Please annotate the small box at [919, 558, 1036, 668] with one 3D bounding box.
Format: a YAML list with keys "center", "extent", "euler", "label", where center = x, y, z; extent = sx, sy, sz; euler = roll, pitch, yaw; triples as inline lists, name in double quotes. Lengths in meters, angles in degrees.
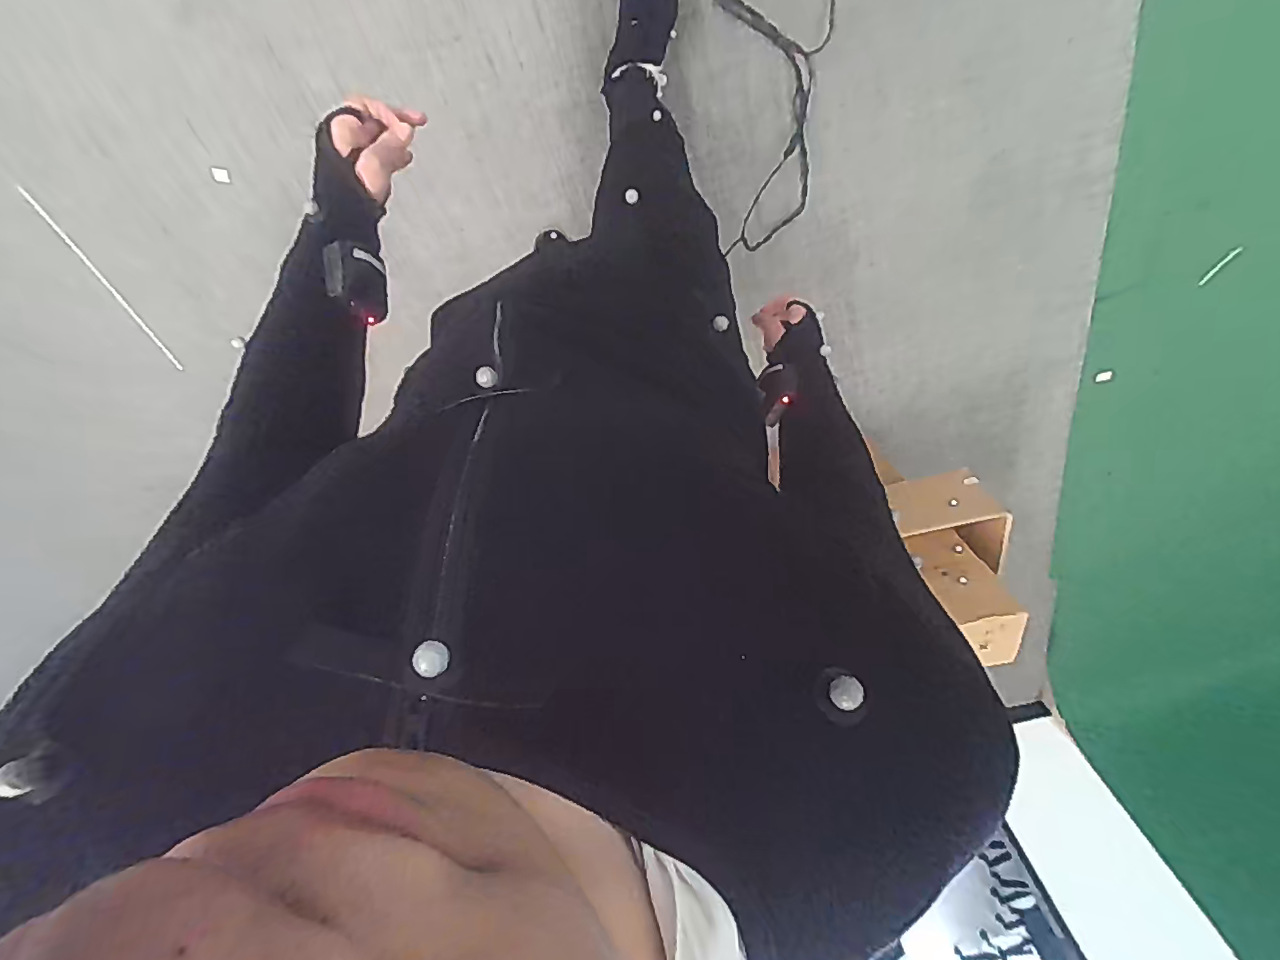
- center: [0.780, 0.311, 1.273]
  extent: [0.168, 0.176, 0.179]
  euler: [-11, 124, 4]
  label: "small box"
